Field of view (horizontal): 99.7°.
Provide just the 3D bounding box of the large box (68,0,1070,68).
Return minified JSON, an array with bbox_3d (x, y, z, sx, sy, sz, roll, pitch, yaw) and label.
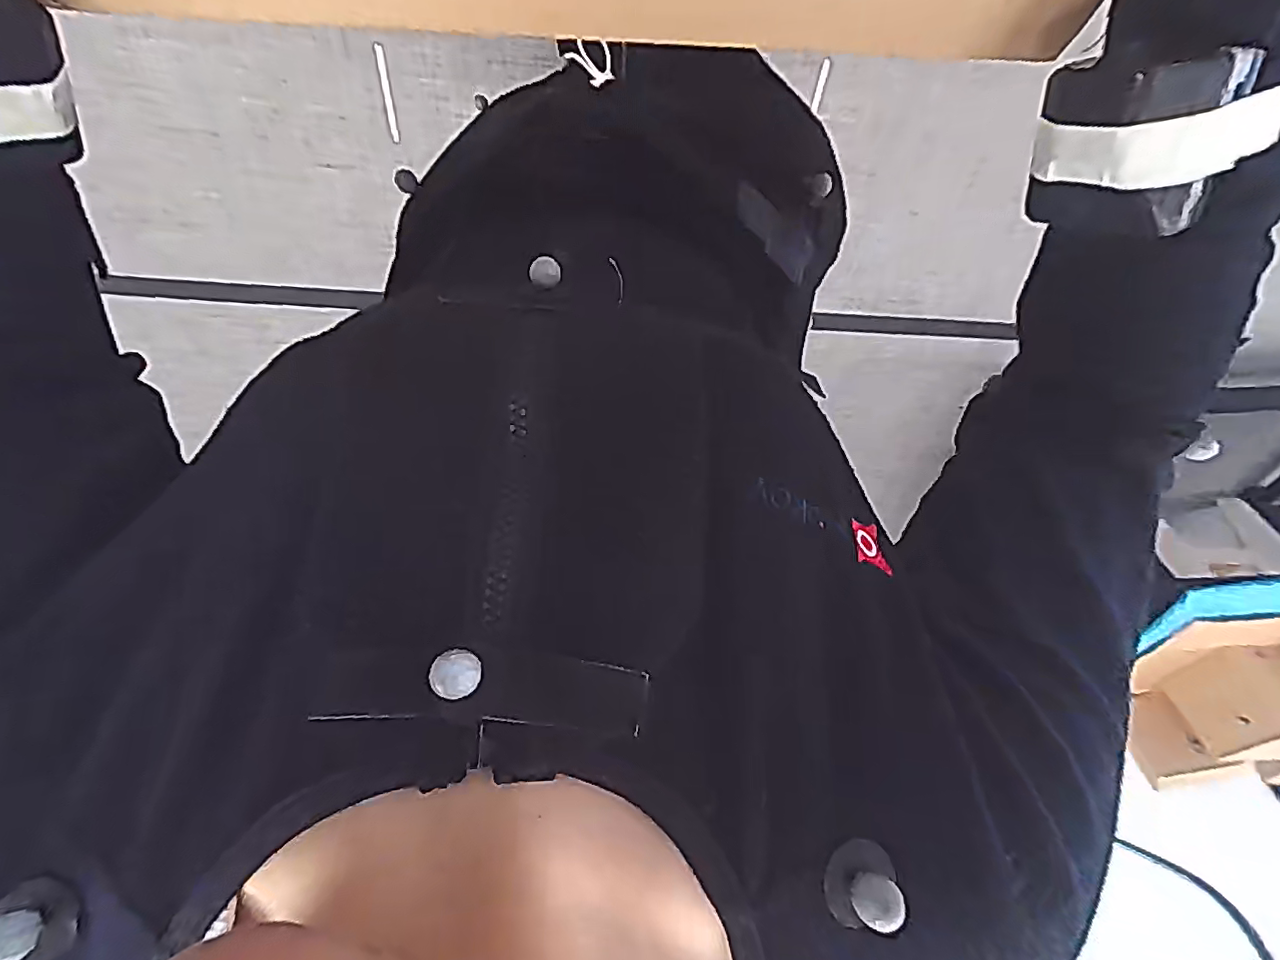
[{"bbox_3d":[-0.019,-0.370,0.130,0.408,0.320,0.320,-1,162,-4],"label":"large box"}]
